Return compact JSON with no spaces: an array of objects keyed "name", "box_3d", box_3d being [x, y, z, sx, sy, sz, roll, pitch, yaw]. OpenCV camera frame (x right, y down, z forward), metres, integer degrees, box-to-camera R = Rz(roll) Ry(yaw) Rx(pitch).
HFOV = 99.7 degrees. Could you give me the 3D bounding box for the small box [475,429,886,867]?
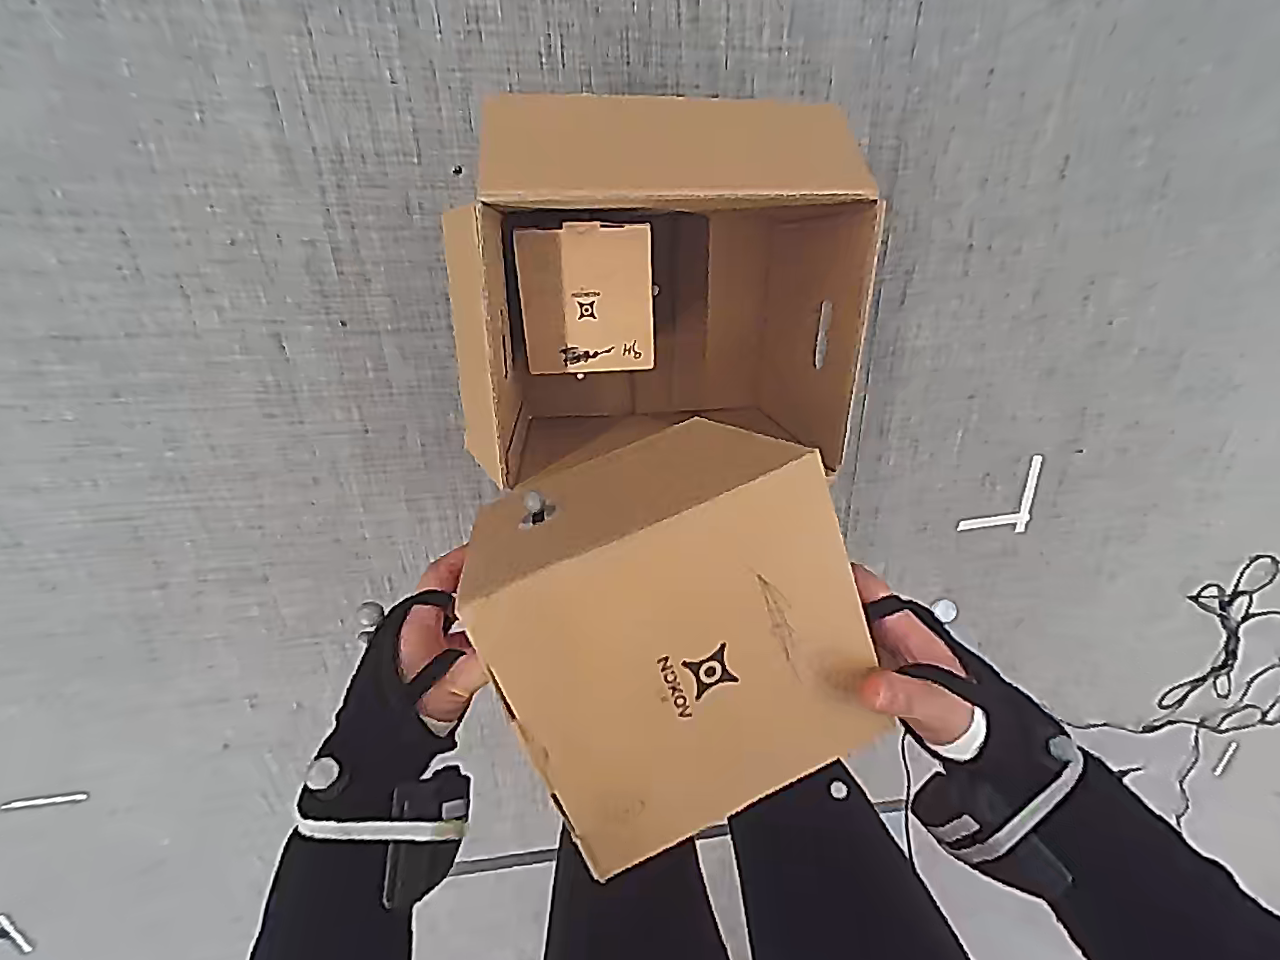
[{"name":"small box","box_3d":[0.015,0.080,0.346,0.179,0.176,0.168,-24,108,-8]}]
